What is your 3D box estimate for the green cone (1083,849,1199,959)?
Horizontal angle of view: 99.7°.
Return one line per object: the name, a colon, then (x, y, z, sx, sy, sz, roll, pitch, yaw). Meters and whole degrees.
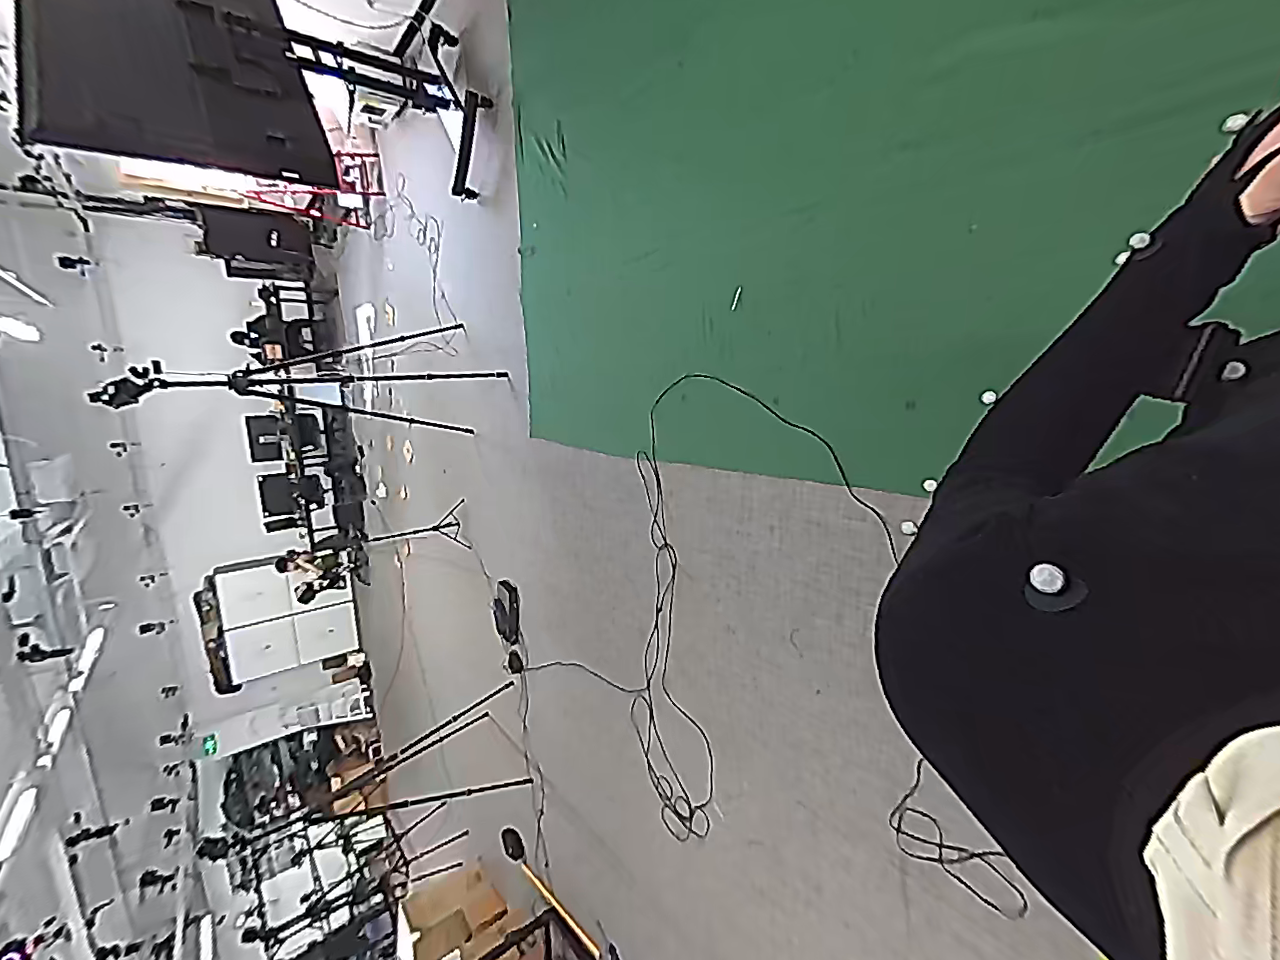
green cone: (1.103, 1.075, 1.239, 0.202, 0.368, 0.200, 13, 107, 50)
